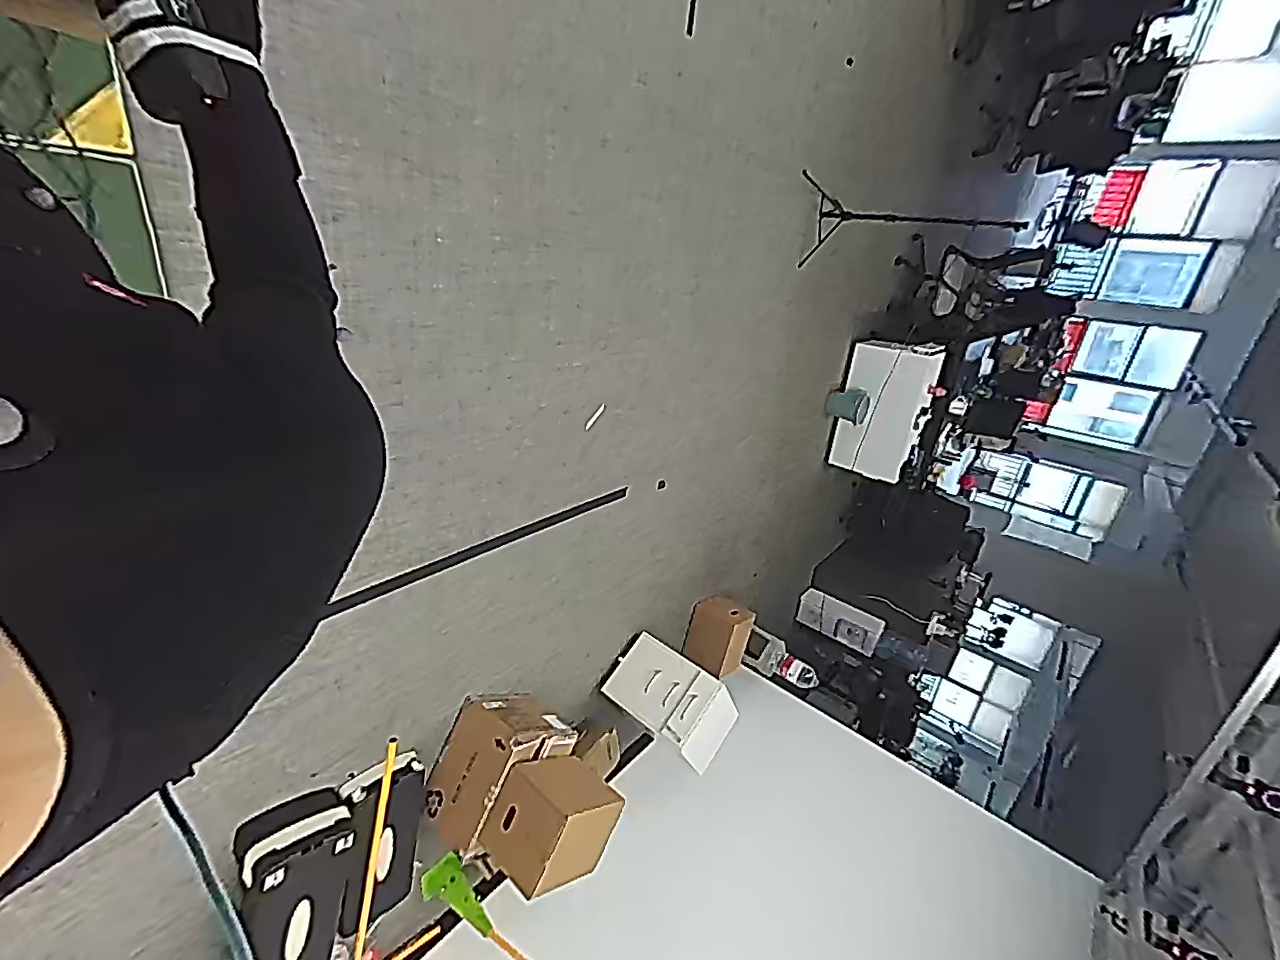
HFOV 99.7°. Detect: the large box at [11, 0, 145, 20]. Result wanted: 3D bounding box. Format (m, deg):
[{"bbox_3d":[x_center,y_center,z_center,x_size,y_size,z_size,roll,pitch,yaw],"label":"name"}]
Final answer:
[{"bbox_3d":[-0.558,-0.506,0.272,0.408,0.320,0.320,-17,128,-48],"label":"large box"}]
